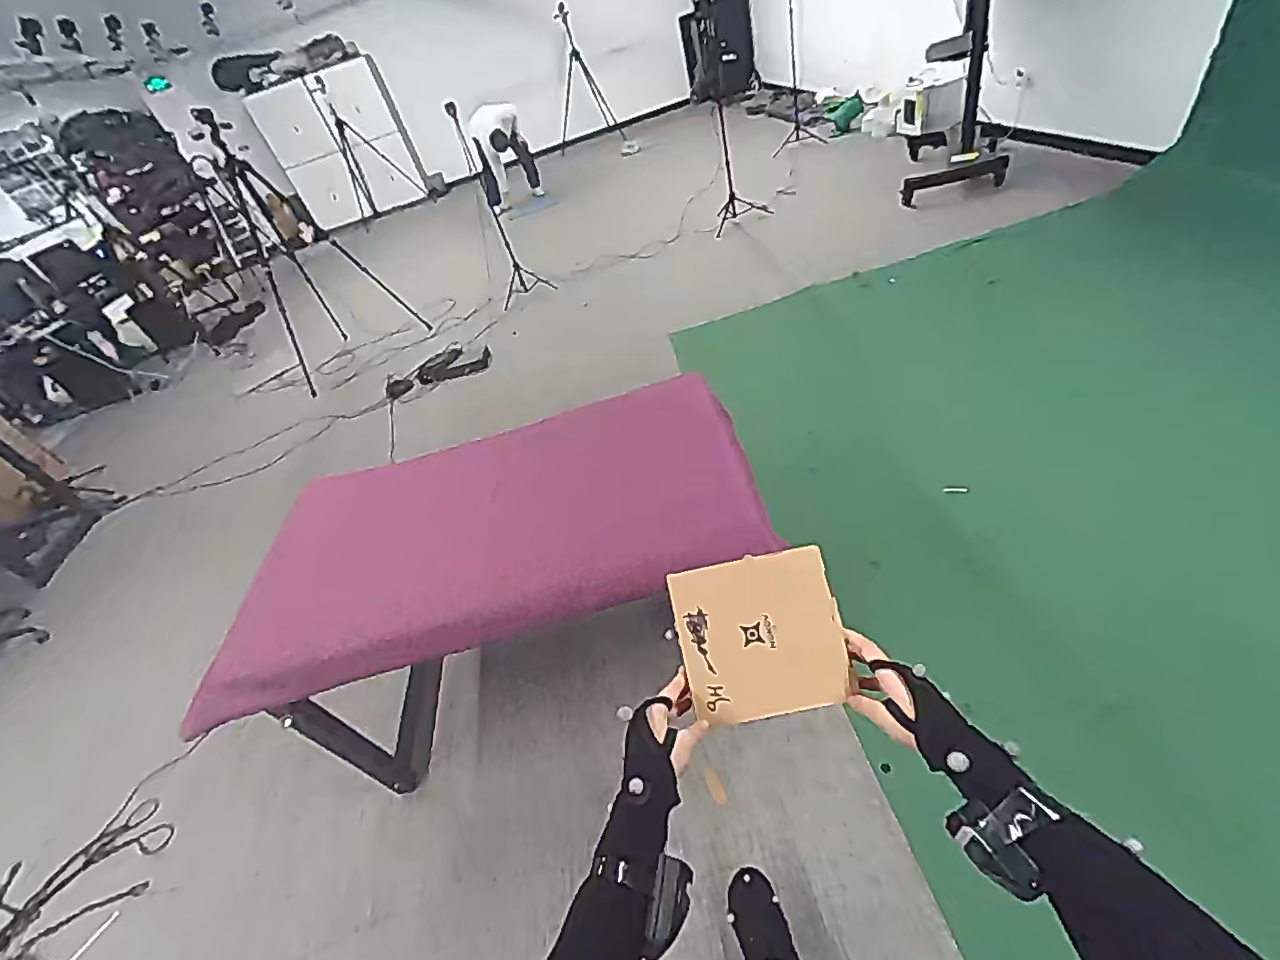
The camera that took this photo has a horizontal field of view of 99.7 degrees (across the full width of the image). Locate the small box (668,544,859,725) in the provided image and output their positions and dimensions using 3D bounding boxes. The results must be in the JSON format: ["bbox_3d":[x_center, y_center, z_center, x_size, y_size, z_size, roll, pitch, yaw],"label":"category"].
[{"bbox_3d":[0.135,0.185,0.658,0.179,0.176,0.168,-12,72,1],"label":"small box"}]
